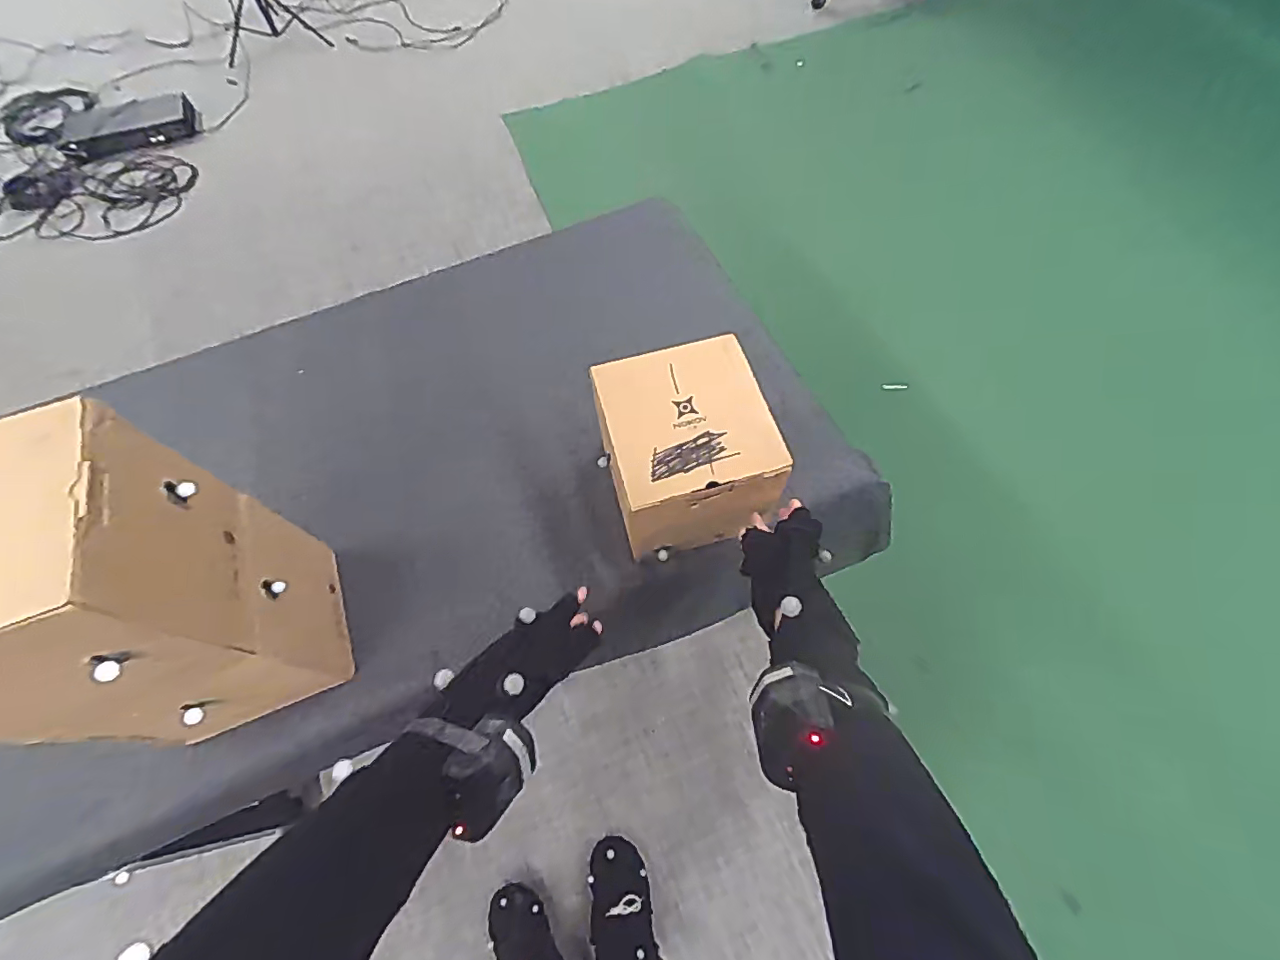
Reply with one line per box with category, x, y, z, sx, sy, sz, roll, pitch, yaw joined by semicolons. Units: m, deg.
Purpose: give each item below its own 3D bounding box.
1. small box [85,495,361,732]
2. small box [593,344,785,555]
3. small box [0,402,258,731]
small box;-0.426;0.147;0.562;0.179;0.176;0.168;-21;64;-9
small box;0.050;-0.025;0.635;0.168;0.176;0.179;-14;63;-5
small box;-0.430;0.075;0.417;0.179;0.176;0.168;-22;62;-8
